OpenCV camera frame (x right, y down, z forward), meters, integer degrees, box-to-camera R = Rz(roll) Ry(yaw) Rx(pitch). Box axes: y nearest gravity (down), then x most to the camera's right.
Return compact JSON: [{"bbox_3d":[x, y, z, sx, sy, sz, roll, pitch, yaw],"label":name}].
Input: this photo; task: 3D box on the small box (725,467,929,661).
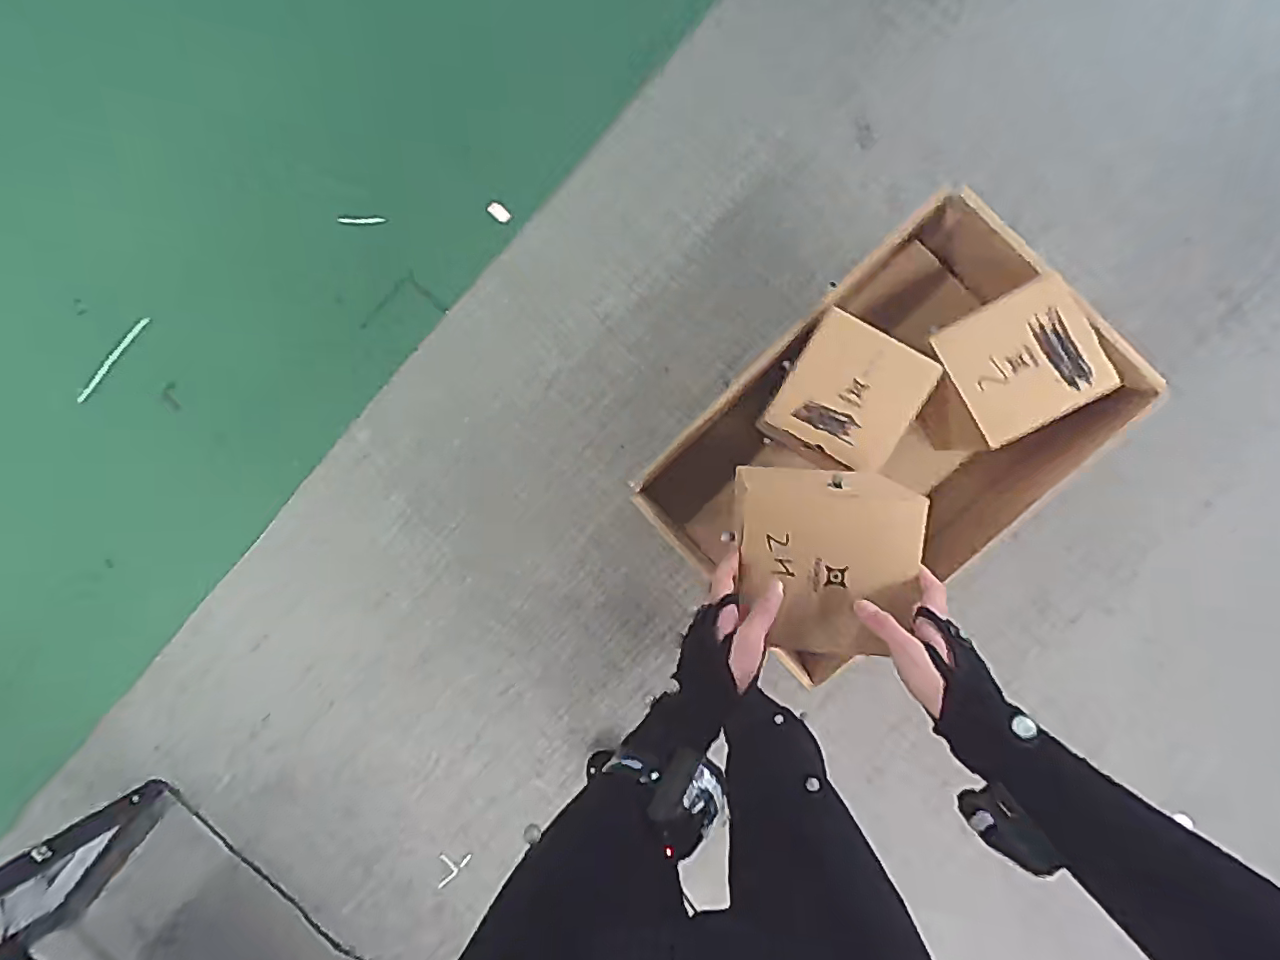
[{"bbox_3d":[0.189,0.080,0.602,0.179,0.176,0.168,3,100,7],"label":"small box"}]
